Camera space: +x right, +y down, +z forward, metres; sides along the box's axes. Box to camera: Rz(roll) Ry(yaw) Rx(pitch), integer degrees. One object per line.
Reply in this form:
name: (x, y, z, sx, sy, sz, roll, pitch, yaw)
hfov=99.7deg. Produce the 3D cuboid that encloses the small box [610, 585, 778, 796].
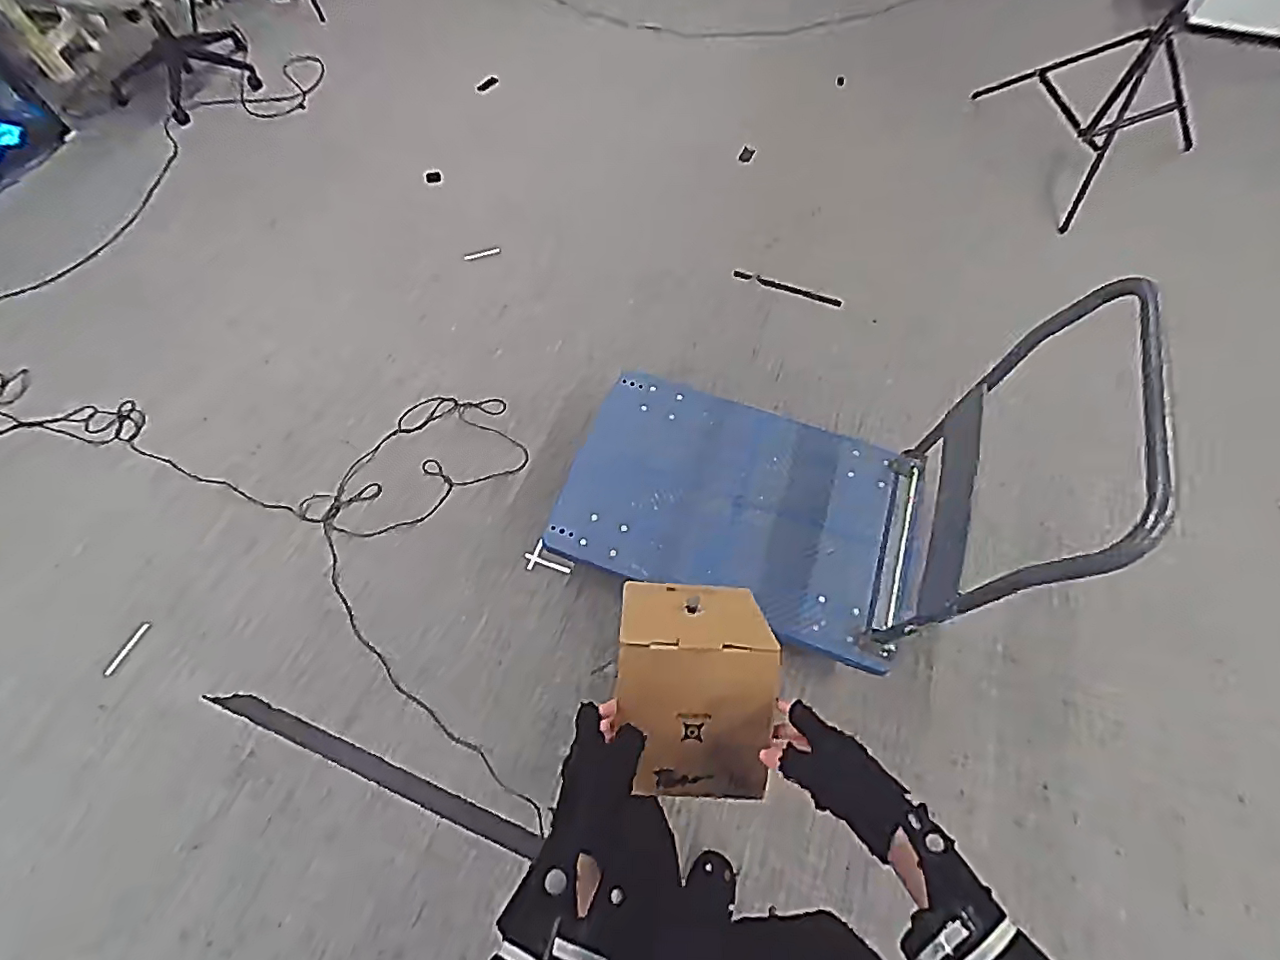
small box: (0.054, 0.235, 0.642, 0.168, 0.176, 0.179, 4, 99, 0)
